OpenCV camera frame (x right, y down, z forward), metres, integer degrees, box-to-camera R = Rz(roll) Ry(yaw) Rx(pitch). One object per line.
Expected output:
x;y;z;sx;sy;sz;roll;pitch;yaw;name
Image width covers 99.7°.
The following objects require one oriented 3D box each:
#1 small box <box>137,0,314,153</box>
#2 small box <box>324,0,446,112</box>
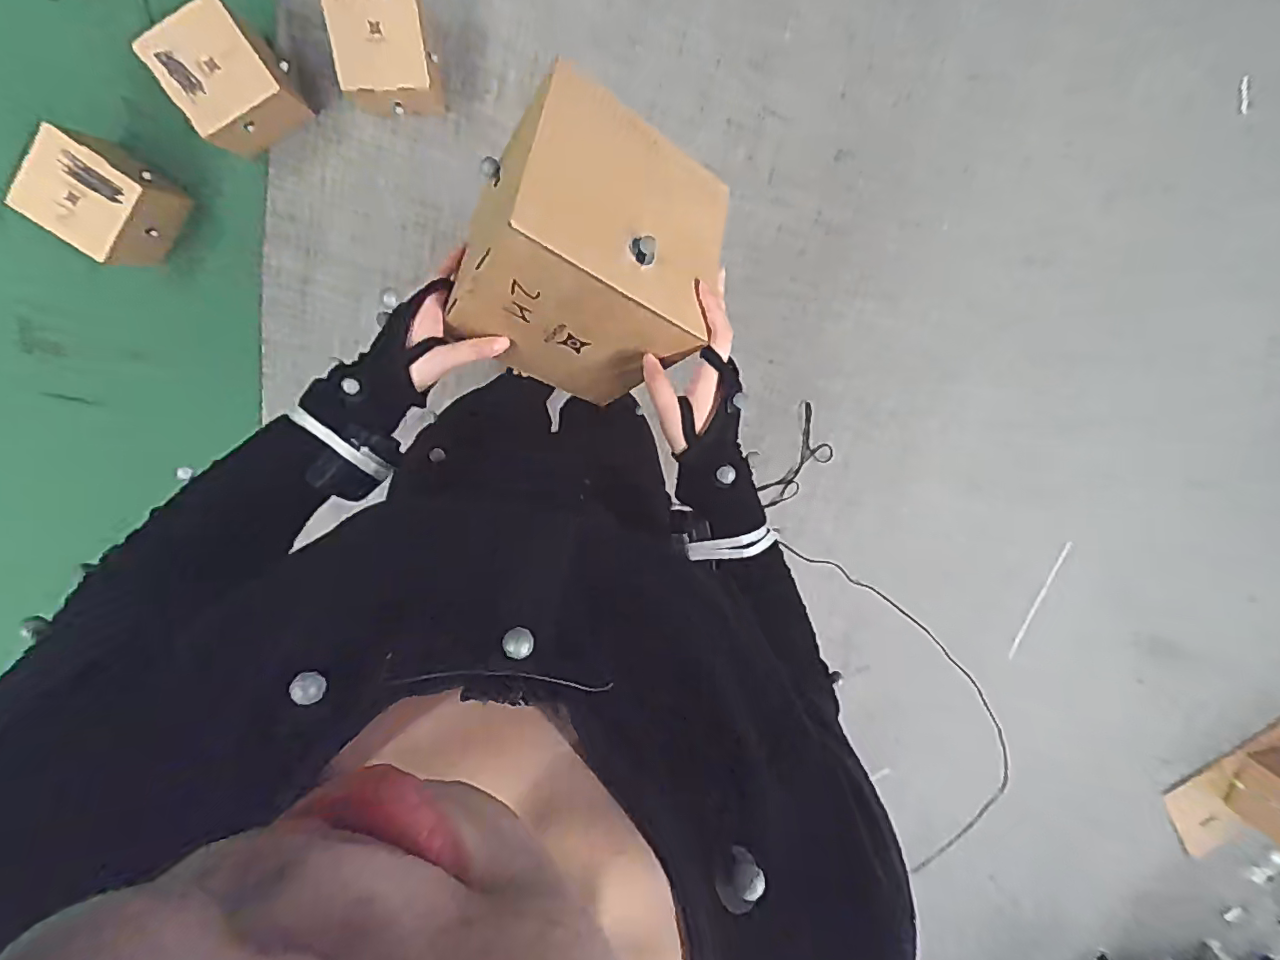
-0.779;-0.767;1.042;0.179;0.176;0.168;-31;112;2;small box
-0.491;-0.843;1.062;0.168;0.176;0.179;-6;111;-7;small box
